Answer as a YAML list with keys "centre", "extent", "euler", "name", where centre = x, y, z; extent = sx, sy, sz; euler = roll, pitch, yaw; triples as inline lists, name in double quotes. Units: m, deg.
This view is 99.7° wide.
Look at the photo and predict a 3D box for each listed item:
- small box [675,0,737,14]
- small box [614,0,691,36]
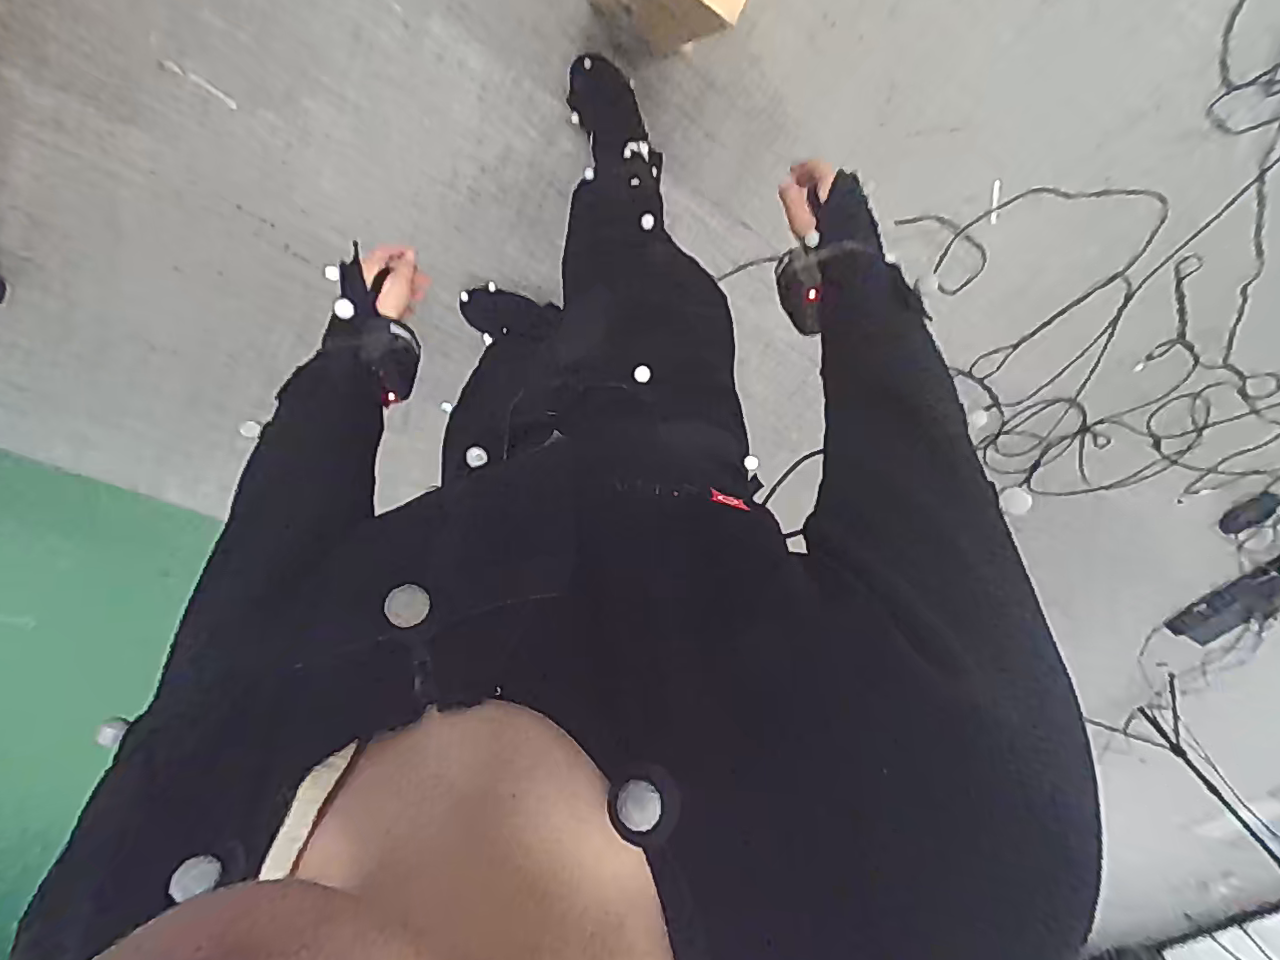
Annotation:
- centre: [0.054, -0.627, 0.558]
  extent: [0.179, 0.176, 0.168]
  euler: [22, 121, -21]
  name: "small box"
- centre: [0.028, -0.817, 0.825]
  extent: [0.179, 0.176, 0.168]
  euler: [21, 121, -22]
  name: "small box"
